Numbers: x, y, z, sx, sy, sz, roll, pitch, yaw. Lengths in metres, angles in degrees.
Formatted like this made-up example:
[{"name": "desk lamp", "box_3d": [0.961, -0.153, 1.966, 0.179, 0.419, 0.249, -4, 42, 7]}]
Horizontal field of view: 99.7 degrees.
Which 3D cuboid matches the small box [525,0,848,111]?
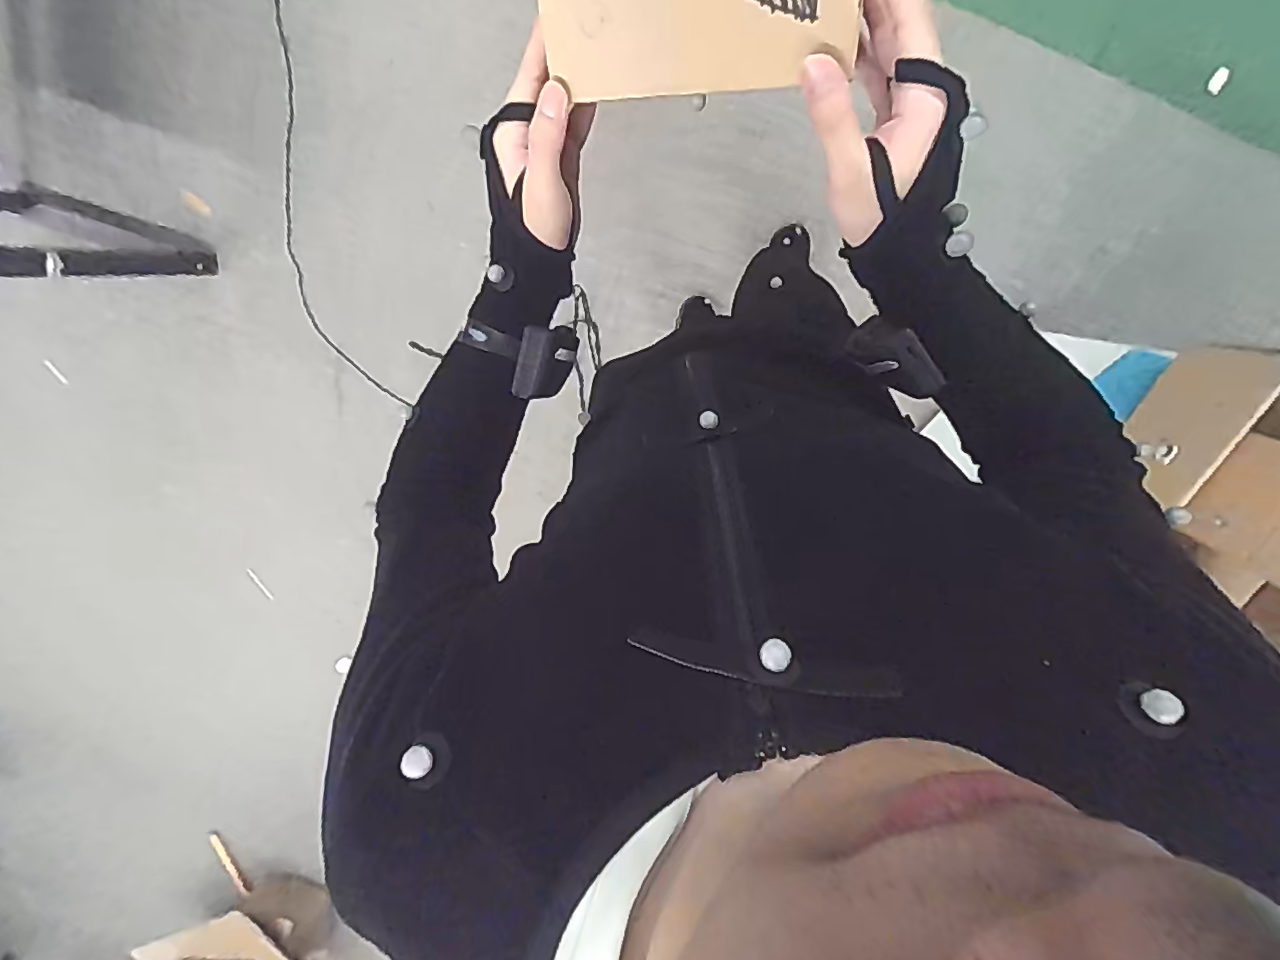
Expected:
[{"name": "small box", "box_3d": [0.034, -0.335, 0.322, 0.179, 0.176, 0.168, 5, 131, 13]}]
